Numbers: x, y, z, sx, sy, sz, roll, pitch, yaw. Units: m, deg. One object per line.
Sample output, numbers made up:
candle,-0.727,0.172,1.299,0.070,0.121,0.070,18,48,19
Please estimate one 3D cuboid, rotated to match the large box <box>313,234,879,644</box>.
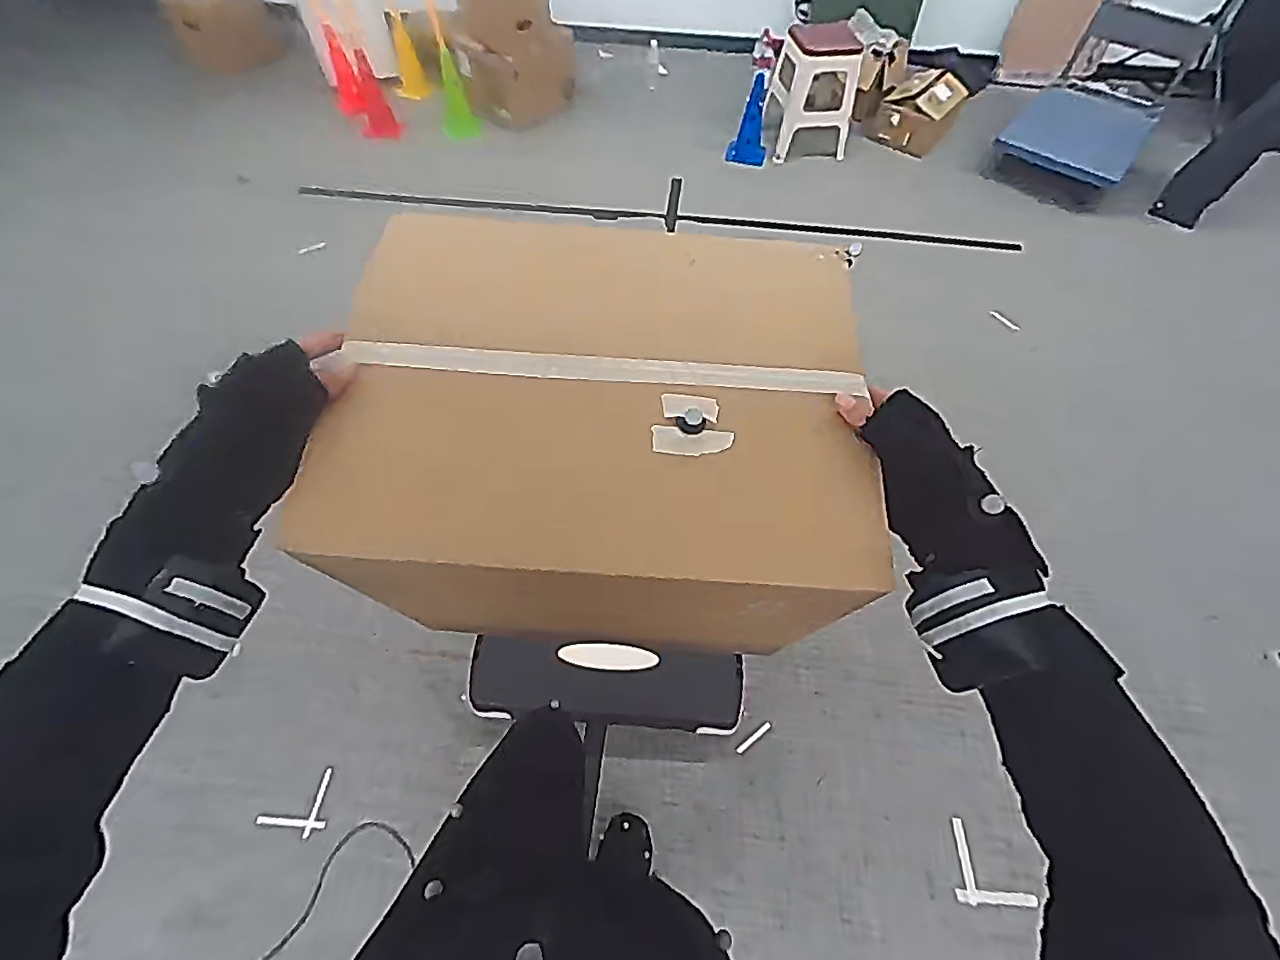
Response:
large box,-0.029,-0.016,0.571,0.408,0.320,0.320,4,66,-1
